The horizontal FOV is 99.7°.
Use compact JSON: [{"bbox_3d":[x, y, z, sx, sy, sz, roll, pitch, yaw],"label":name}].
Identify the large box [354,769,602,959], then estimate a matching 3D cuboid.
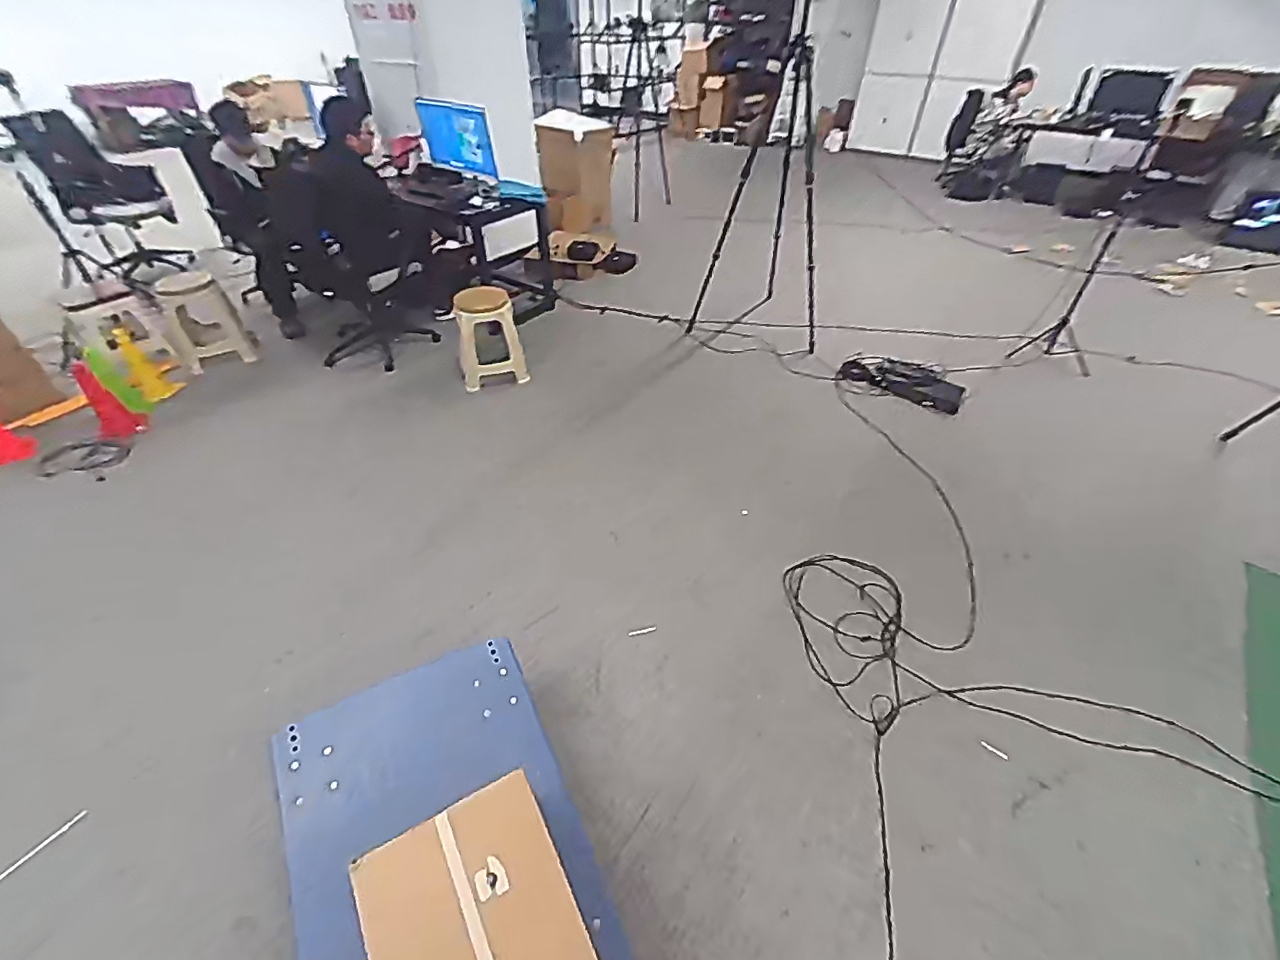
[{"bbox_3d":[-0.280,0.841,1.012,0.320,0.320,0.408,-21,59,-23],"label":"large box"}]
